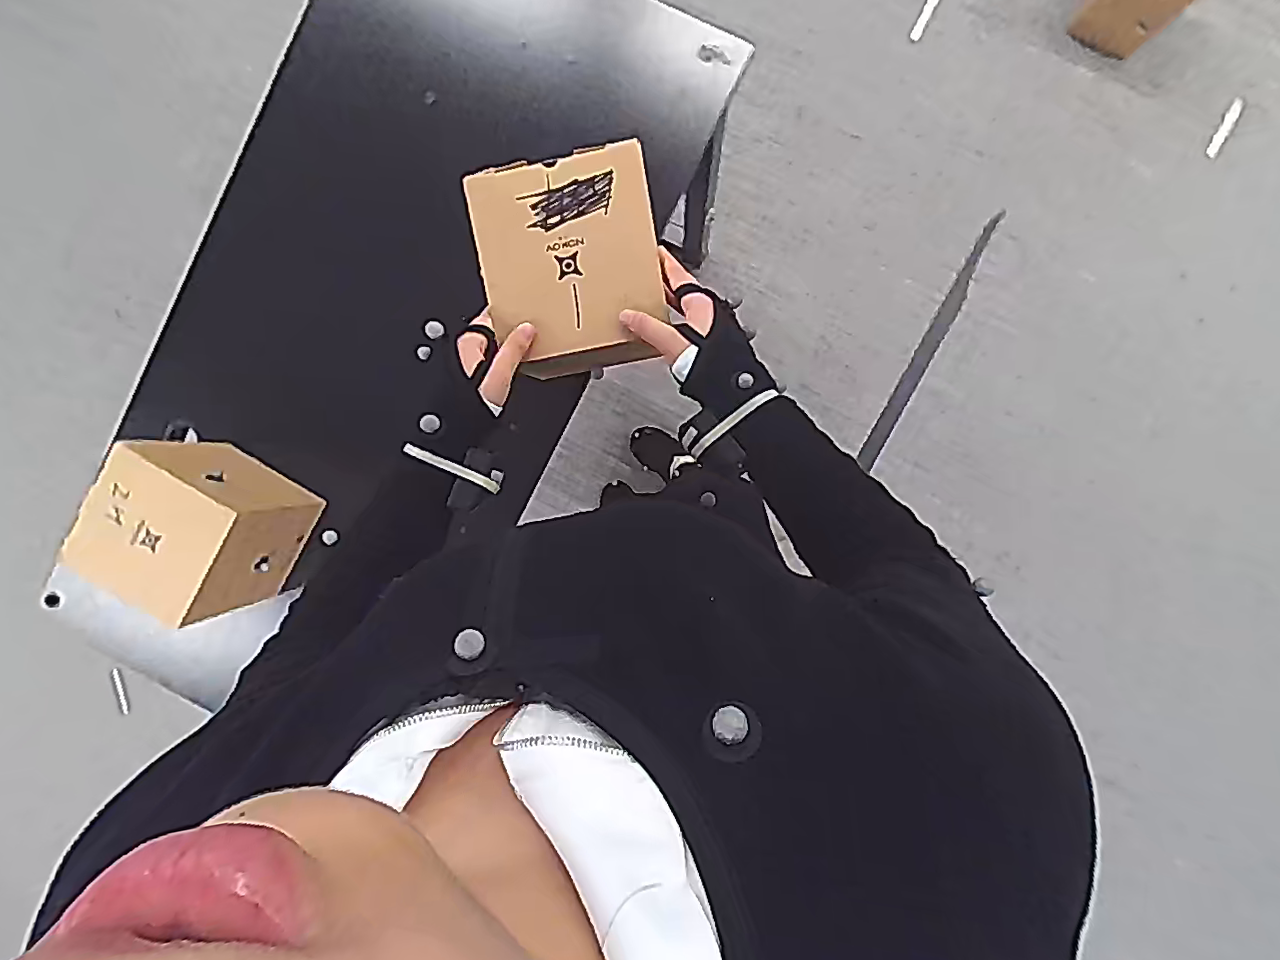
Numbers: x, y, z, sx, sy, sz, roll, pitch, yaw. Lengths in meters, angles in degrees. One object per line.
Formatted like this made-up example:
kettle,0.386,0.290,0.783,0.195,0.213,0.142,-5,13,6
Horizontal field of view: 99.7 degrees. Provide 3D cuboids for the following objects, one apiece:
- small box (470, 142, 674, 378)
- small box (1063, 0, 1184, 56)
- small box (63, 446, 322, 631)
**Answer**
small box,-0.059,-0.213,0.575,0.168,0.176,0.179,-9,96,5
small box,1.181,-1.171,1.291,0.179,0.176,0.168,26,93,3
small box,-0.576,0.067,0.723,0.179,0.176,0.168,30,93,3
